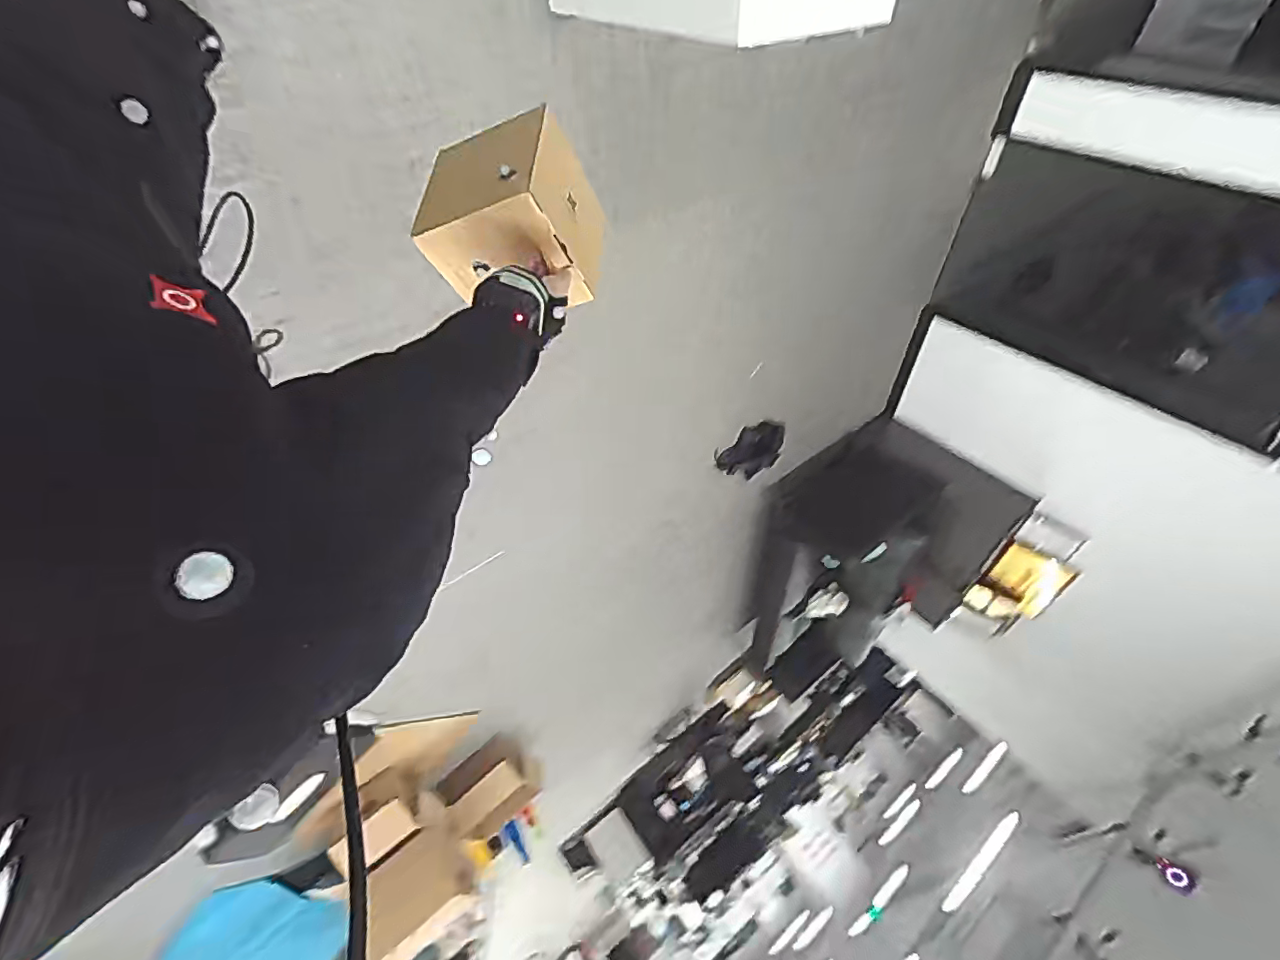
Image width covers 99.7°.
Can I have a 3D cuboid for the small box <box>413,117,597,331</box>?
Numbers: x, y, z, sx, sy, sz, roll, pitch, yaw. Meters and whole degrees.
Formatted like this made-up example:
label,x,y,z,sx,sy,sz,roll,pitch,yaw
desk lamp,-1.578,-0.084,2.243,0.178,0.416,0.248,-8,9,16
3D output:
label,x,y,z,sx,sy,sz,roll,pitch,yaw
small box,-0.171,-0.329,0.719,0.176,0.179,0.168,-8,151,20
